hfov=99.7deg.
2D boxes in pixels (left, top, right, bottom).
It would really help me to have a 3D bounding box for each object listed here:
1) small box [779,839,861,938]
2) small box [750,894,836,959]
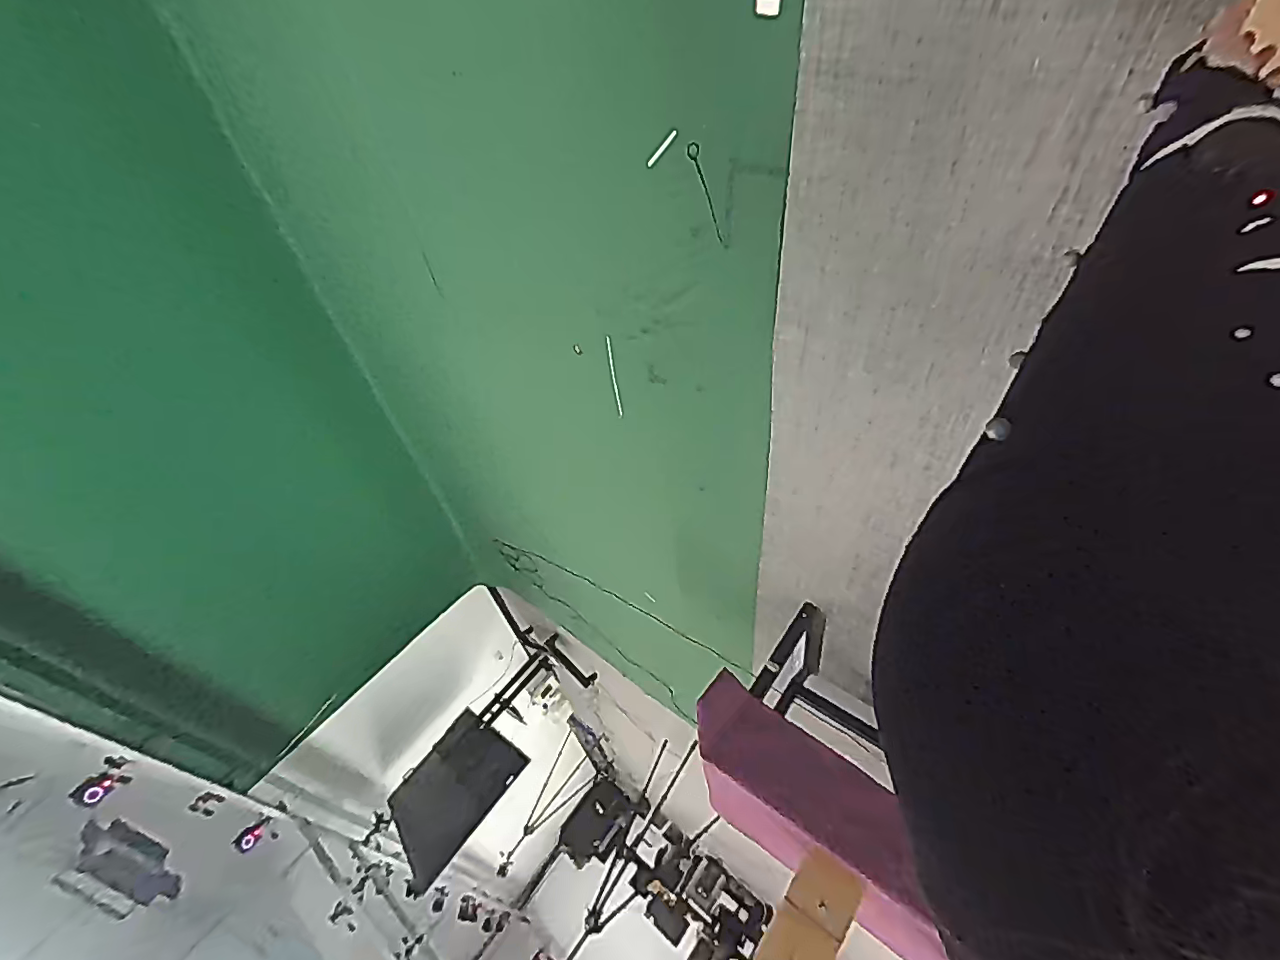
[{"bbox_3d":[0.535,1.220,1.613,0.179,0.176,0.168,26,146,31],"label":"small box"},{"bbox_3d":[0.431,1.318,1.536,0.179,0.176,0.168,25,145,31],"label":"small box"}]
